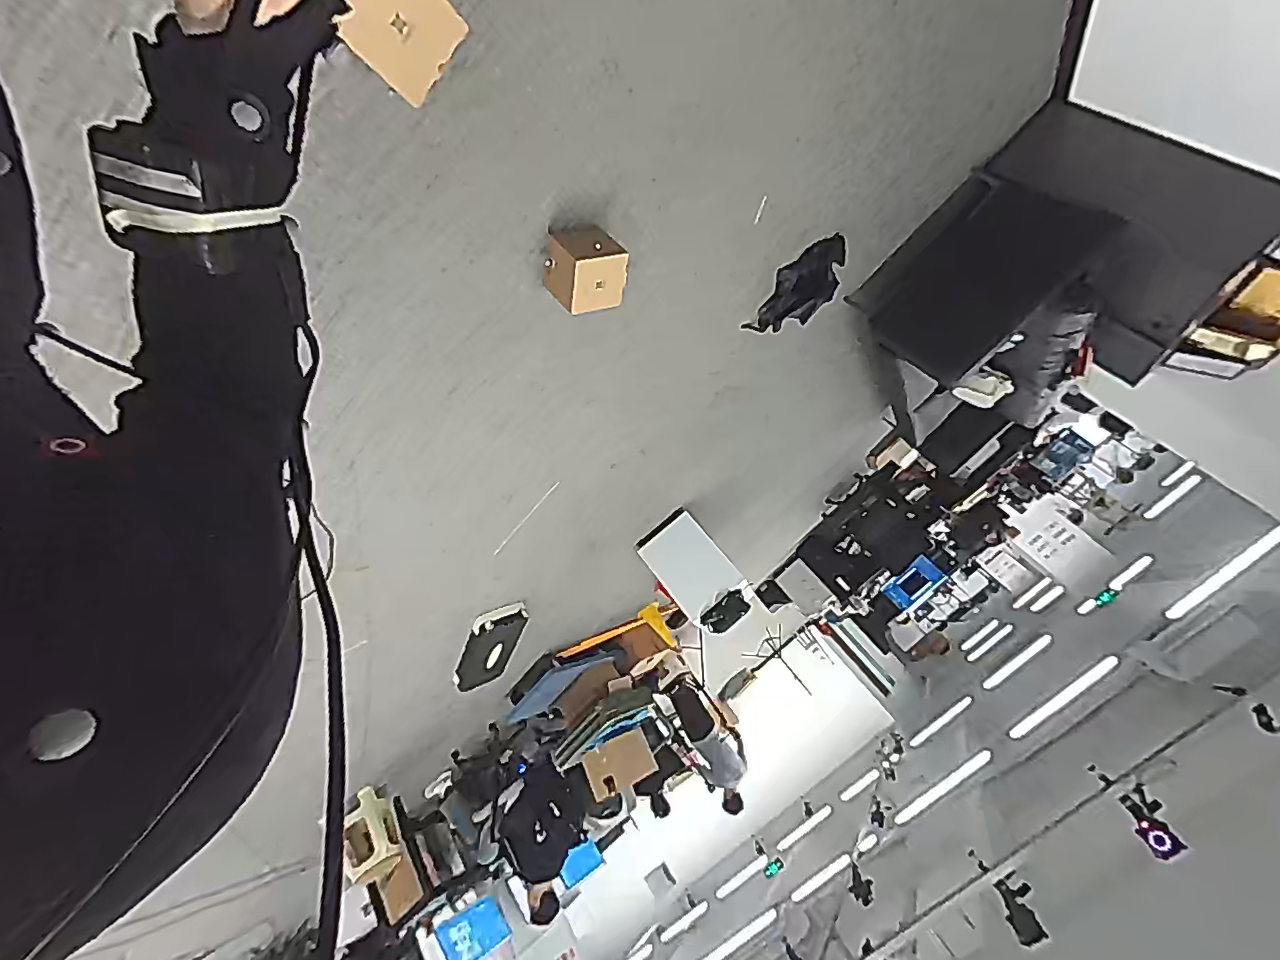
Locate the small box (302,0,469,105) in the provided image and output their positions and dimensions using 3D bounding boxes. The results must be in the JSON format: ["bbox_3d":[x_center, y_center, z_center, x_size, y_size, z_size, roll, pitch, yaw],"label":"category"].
[{"bbox_3d":[-0.435,-0.796,0.915,0.168,0.176,0.179,-47,153,14],"label":"small box"}]

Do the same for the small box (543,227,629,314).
[{"bbox_3d":[-0.159,-0.606,1.549,0.179,0.176,0.168,-22,147,-29],"label":"small box"}]
